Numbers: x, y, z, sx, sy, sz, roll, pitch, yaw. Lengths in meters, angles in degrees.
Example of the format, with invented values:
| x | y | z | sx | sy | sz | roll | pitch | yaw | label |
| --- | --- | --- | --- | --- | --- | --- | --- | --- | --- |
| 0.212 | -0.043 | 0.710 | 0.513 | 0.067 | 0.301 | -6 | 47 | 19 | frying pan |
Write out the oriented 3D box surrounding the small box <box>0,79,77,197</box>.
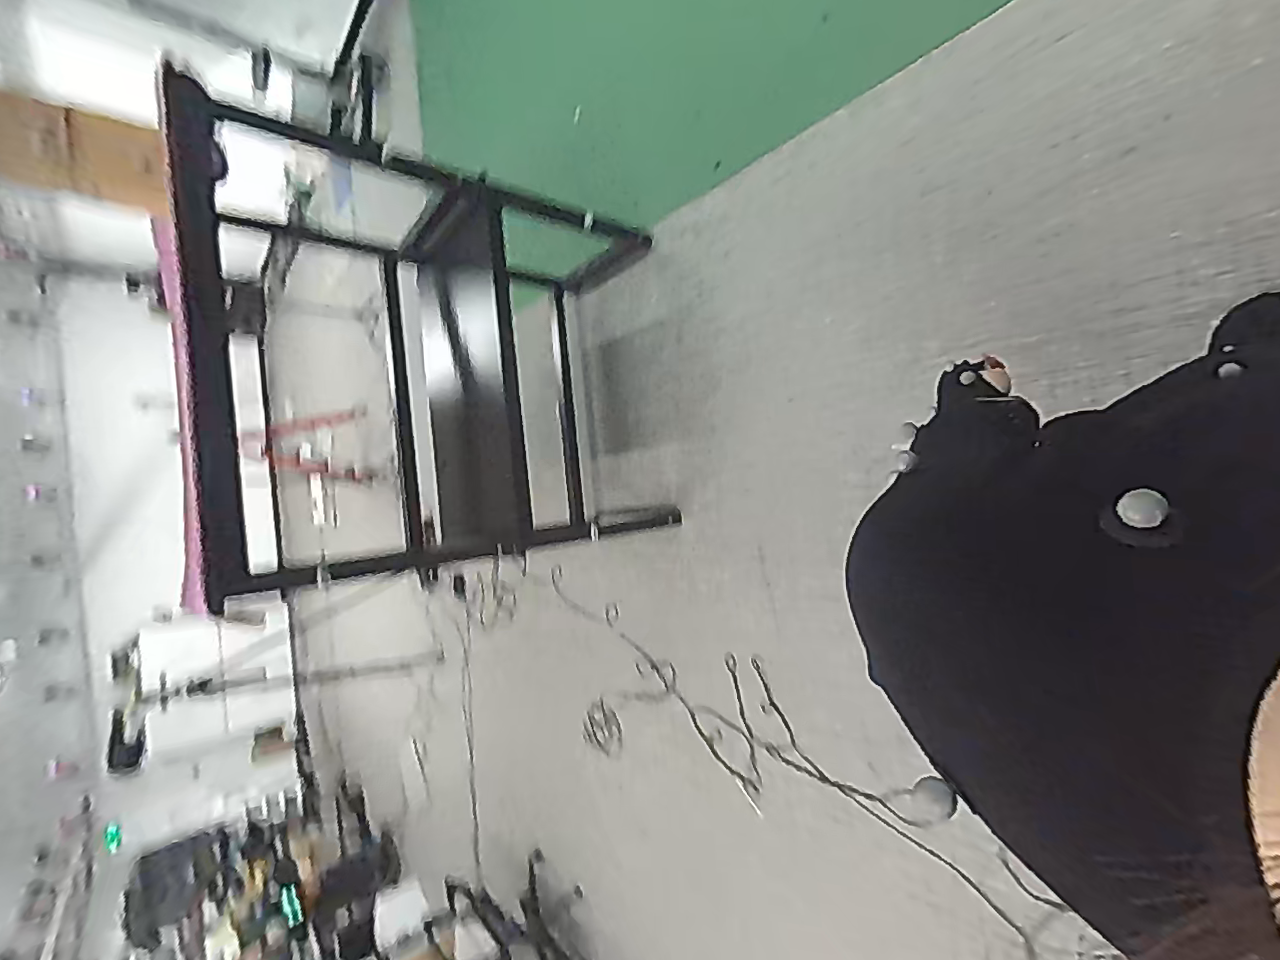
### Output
| x | y | z | sx | sy | sz | roll | pitch | yaw | label |
| --- | --- | --- | --- | --- | --- | --- | --- | --- | --- |
| -1.269 | -0.694 | 1.098 | 0.179 | 0.176 | 0.168 | 13 | 106 | 44 | small box |

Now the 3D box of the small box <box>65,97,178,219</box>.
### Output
| x | y | z | sx | sy | sz | roll | pitch | yaw | label |
| --- | --- | --- | --- | --- | --- | --- | --- | --- | --- |
| -1.155 | -0.707 | 1.213 | 0.179 | 0.176 | 0.168 | 8 | 101 | 46 | small box |
